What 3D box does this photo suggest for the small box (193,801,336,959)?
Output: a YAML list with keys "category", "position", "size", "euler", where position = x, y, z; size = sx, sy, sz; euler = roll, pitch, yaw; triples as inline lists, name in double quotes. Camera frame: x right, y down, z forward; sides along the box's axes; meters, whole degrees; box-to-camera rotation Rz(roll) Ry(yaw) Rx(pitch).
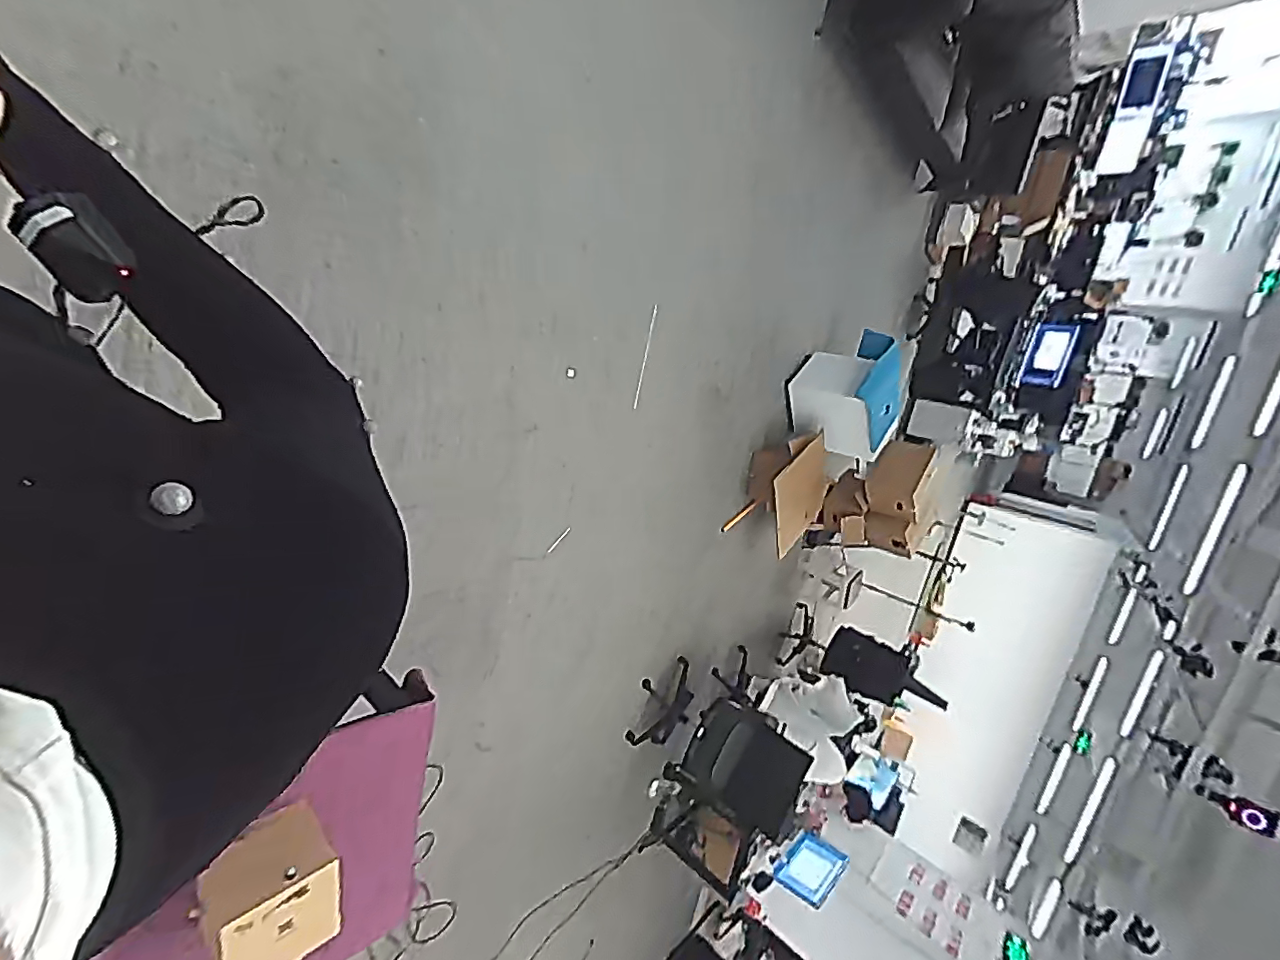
- category: "small box"
  position: [-0.646, 0.710, 0.933]
  size: [0.168, 0.176, 0.179]
  euler: [-11, 116, -49]
